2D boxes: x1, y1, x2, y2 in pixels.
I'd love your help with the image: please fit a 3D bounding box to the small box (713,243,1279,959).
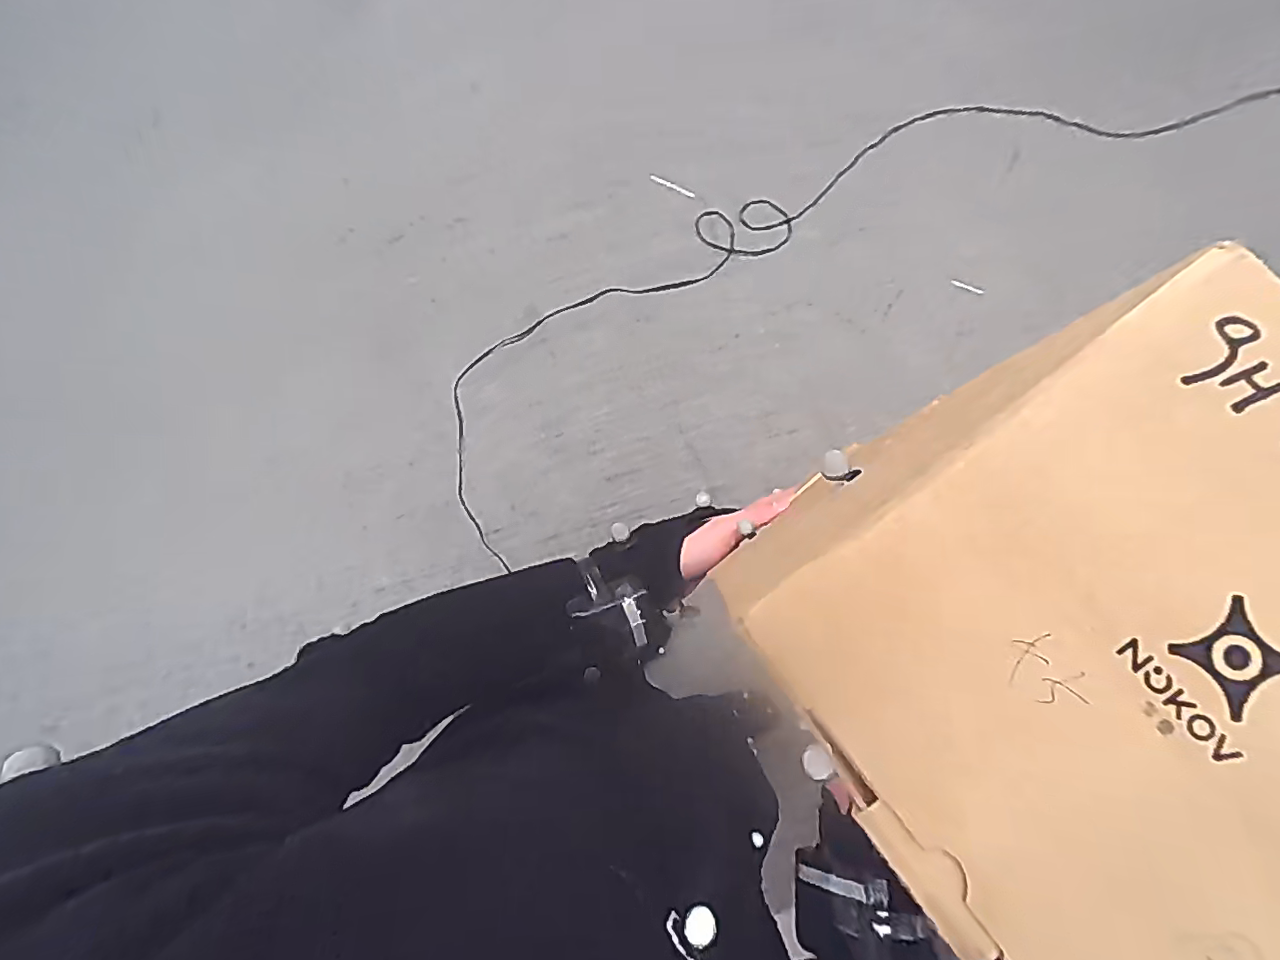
[{"bbox_3d":[0.147,0.058,0.216,0.179,0.176,0.168,-39,82,2],"label":"small box"}]
